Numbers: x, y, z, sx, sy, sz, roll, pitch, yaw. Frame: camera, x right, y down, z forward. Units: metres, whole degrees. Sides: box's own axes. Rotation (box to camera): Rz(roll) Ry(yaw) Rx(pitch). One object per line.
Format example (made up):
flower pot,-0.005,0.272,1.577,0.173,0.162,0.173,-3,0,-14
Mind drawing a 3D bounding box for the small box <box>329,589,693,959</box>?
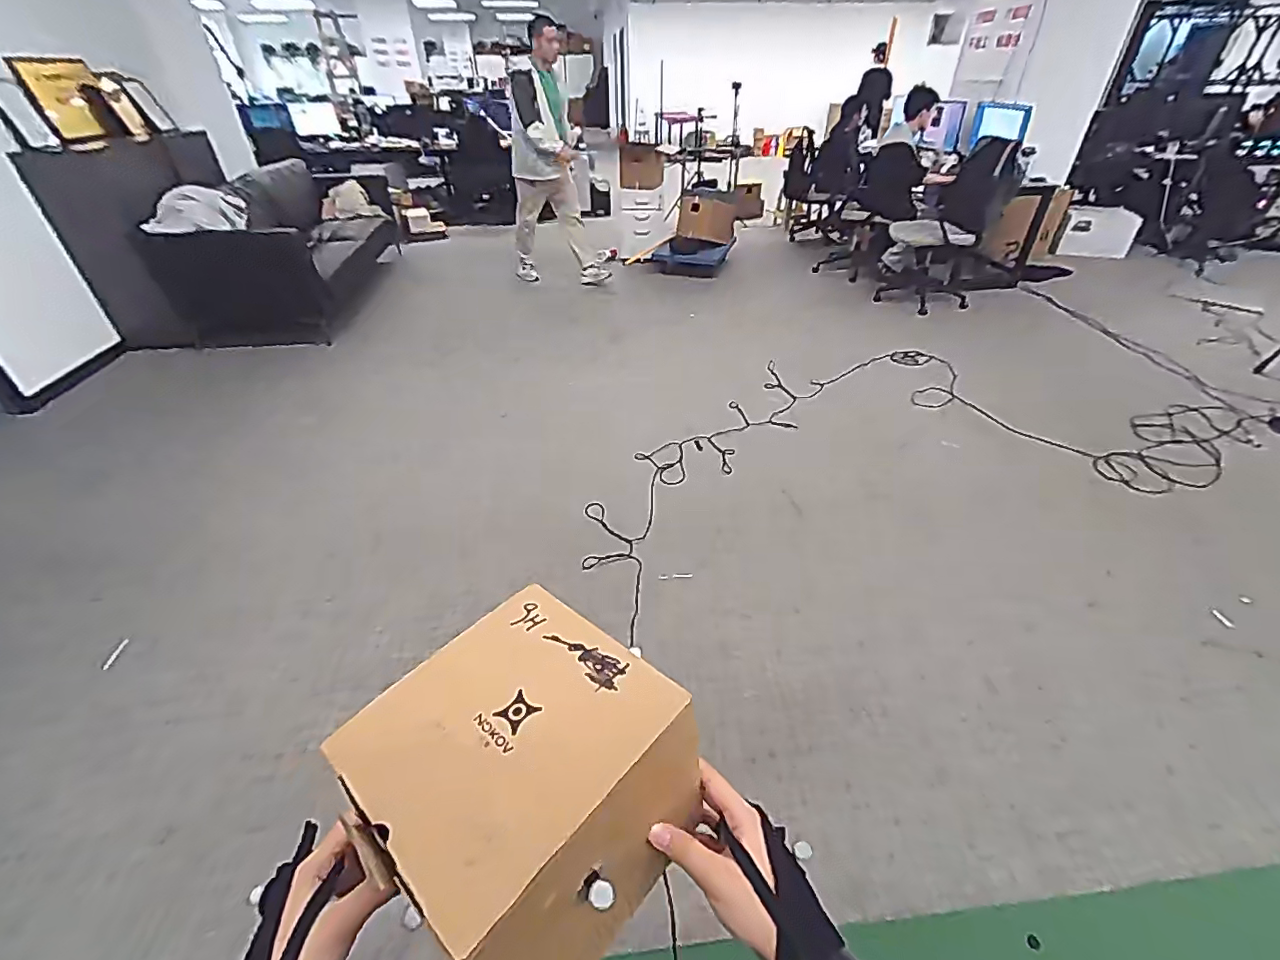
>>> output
small box,-0.074,0.220,0.388,0.168,0.176,0.179,24,47,37
